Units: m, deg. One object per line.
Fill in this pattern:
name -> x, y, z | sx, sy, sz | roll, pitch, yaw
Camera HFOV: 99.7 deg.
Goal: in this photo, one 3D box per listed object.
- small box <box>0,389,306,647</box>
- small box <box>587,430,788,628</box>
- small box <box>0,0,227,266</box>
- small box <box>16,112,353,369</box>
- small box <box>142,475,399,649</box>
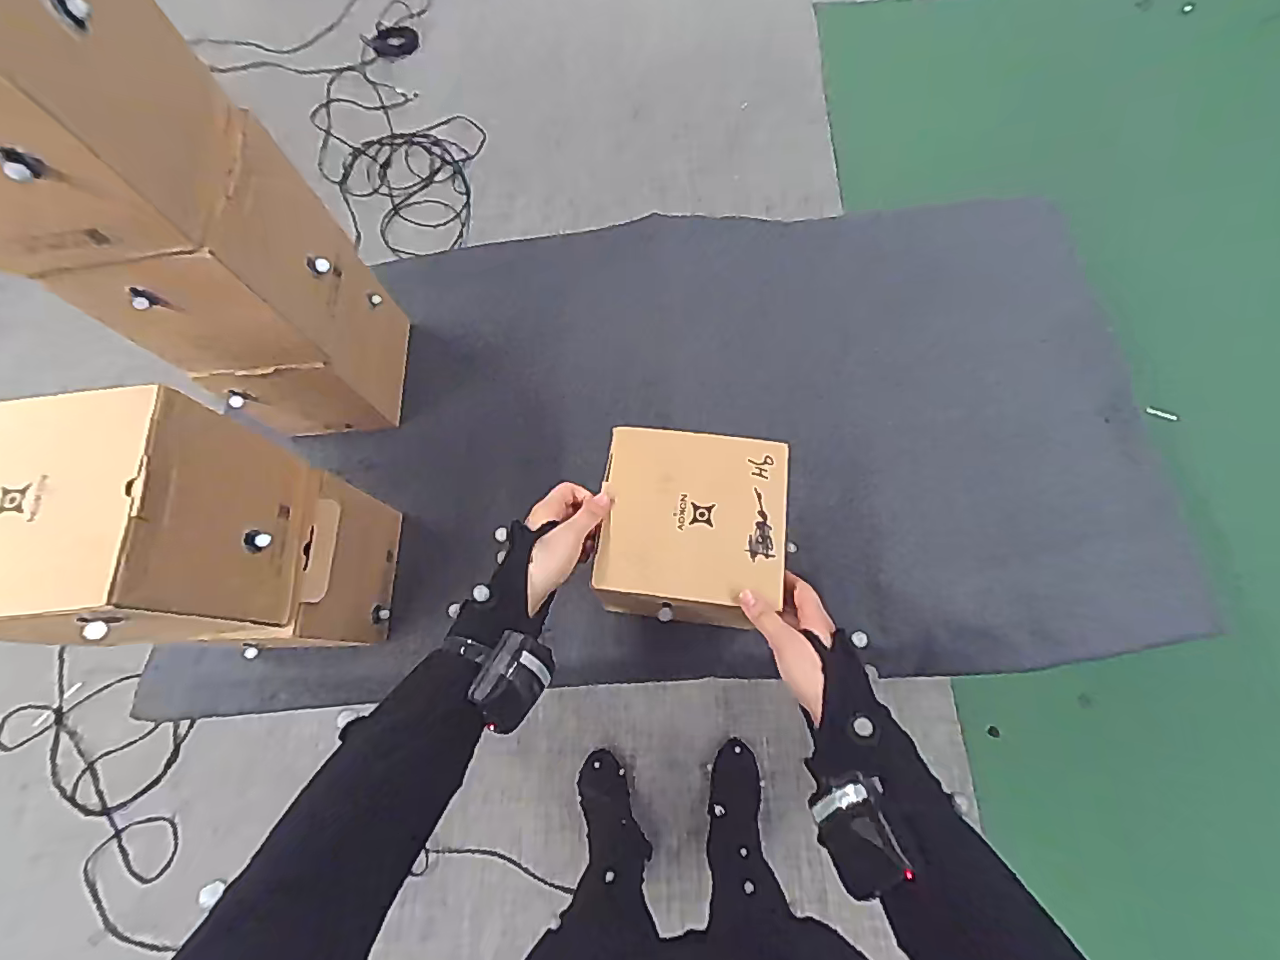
small box -> -0.422, 0.044, 0.452 | 0.179, 0.176, 0.168 | -7, 70, 2
small box -> 0.053, 0.062, 0.581 | 0.179, 0.176, 0.168 | 6, 70, 6
small box -> -0.445, -0.277, 0.390 | 0.168, 0.176, 0.179 | -7, 70, 0
small box -> -0.427, -0.224, 0.543 | 0.179, 0.176, 0.168 | -3, 72, 3
small box -> -0.395, 0.099, 0.603 | 0.179, 0.176, 0.168 | -3, 71, 4
